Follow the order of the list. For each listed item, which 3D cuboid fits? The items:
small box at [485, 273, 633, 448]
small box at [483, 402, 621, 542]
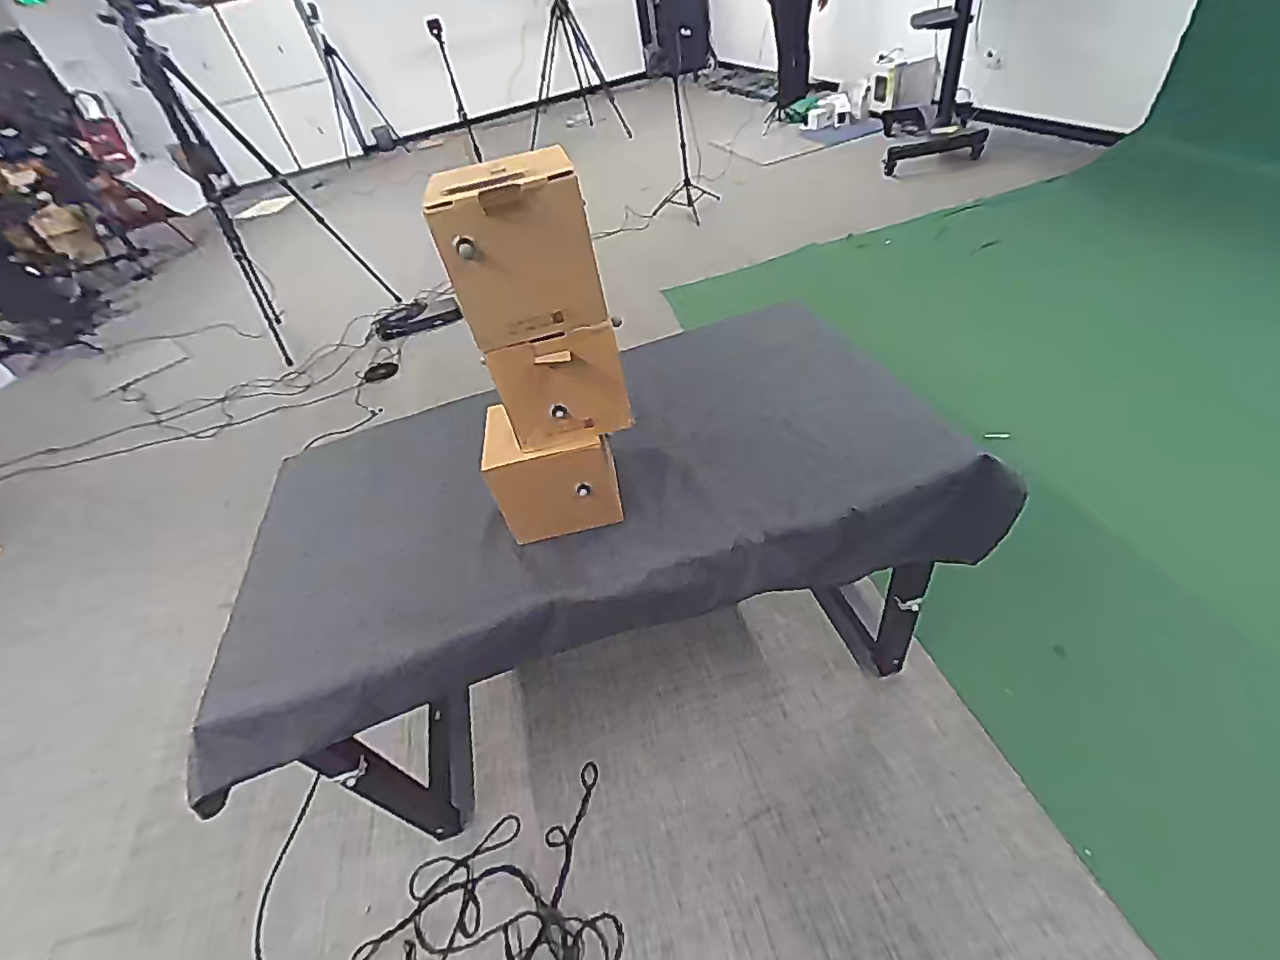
[{"bbox_3d":[-0.113,-0.172,0.783,0.168,0.176,0.179,-14,42,-1],"label":"small box"},{"bbox_3d":[-0.133,-0.025,0.871,0.179,0.176,0.168,-14,42,1],"label":"small box"}]
